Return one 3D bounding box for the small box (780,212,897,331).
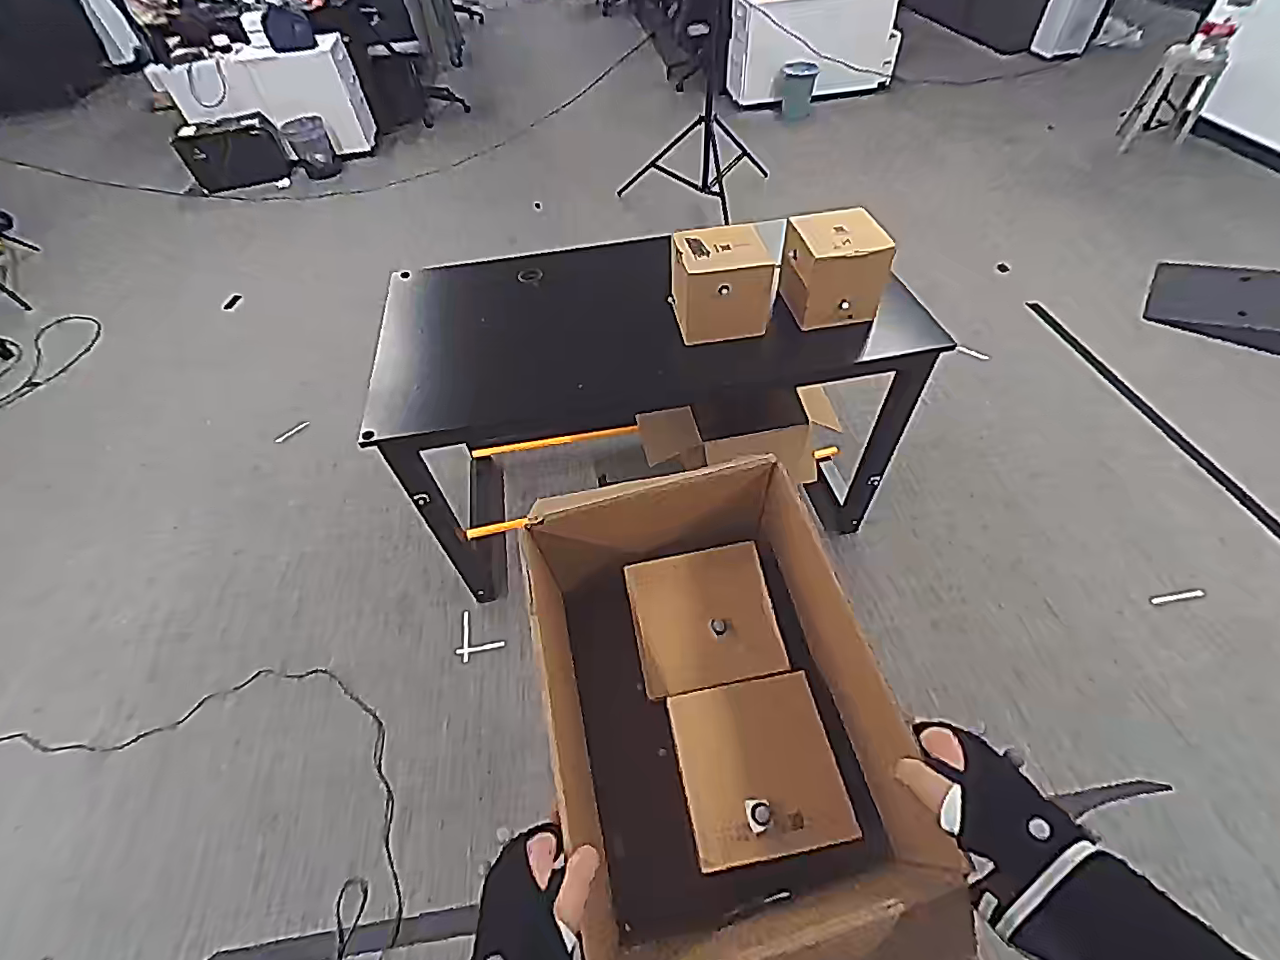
[{"bbox_3d":[0.410,-0.443,1.154,0.168,0.176,0.179,-9,51,-2],"label":"small box"}]

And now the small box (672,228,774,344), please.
[{"bbox_3d":[0.167,-0.405,1.143,0.179,0.176,0.168,-8,51,-3],"label":"small box"}]
